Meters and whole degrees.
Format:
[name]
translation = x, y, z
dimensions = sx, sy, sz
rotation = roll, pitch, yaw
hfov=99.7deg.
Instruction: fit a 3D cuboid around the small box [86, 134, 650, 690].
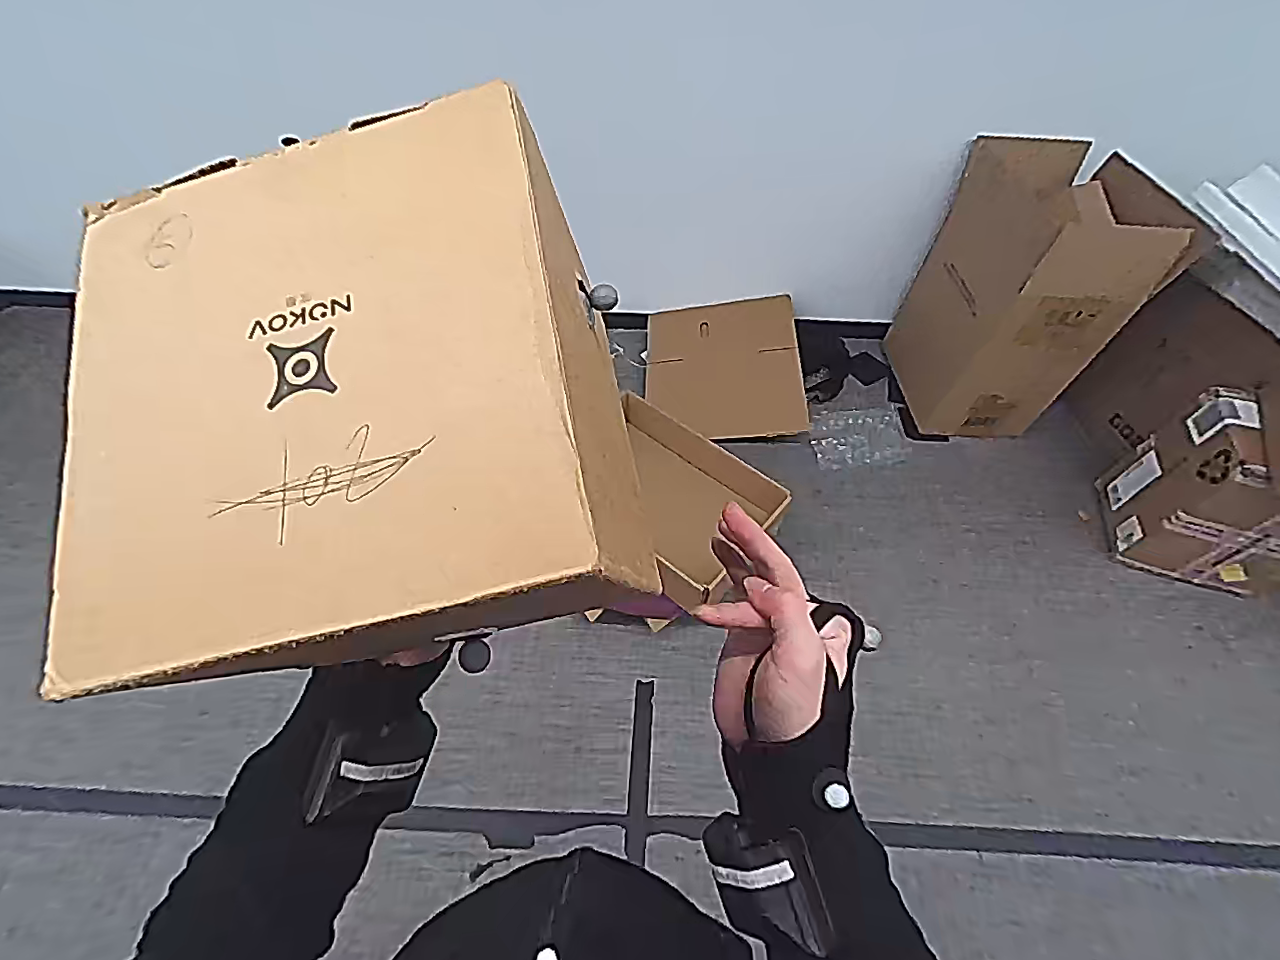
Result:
[small box]
translation = -0.097, -0.012, 0.262
dimensions = 0.168, 0.176, 0.179
rotation = -13, 75, 5
